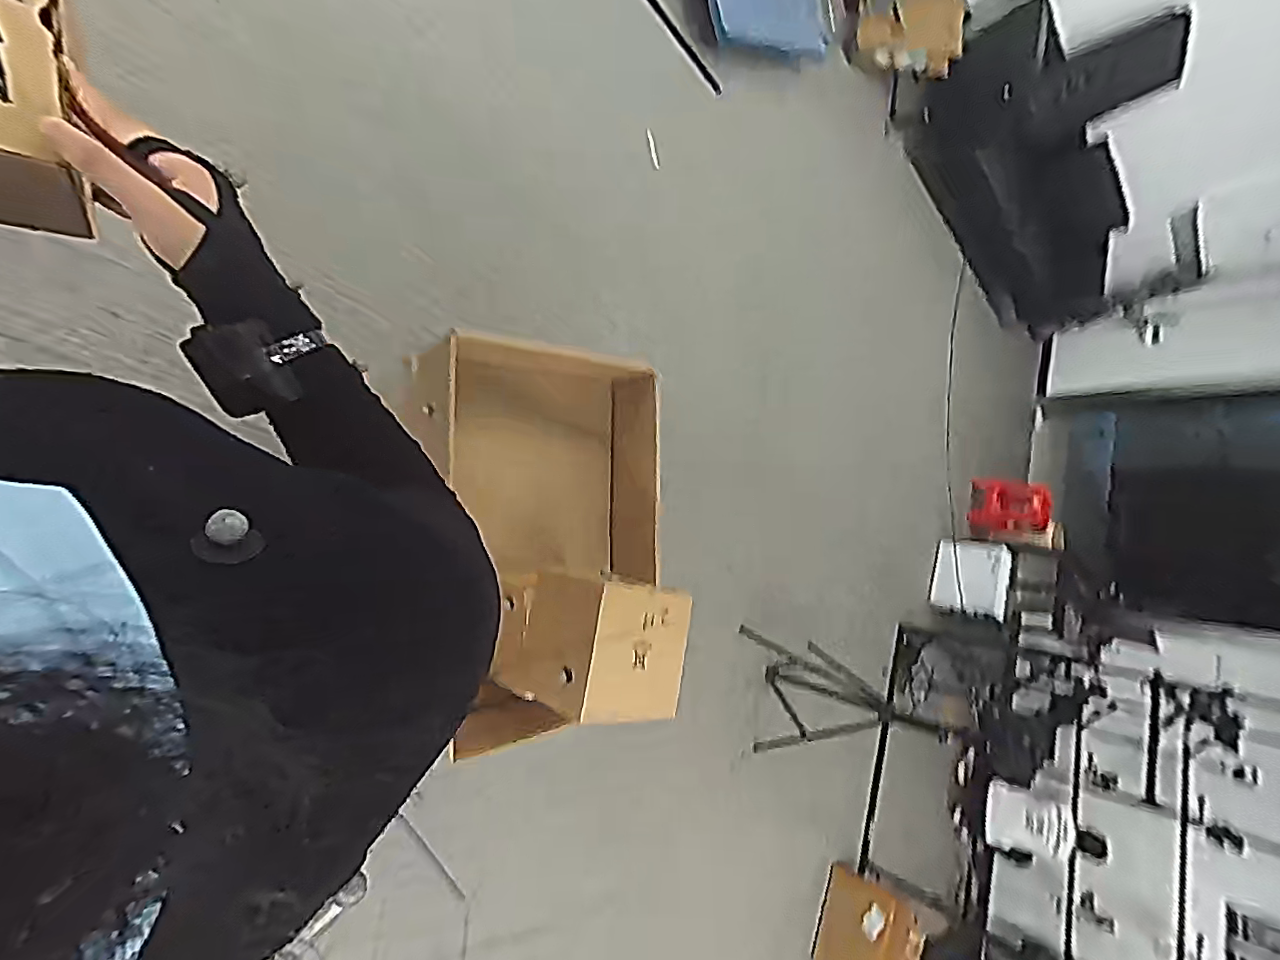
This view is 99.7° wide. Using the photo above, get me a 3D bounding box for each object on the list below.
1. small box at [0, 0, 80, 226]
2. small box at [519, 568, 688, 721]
[{"bbox_3d":[-0.466,-0.270,0.321,0.179,0.176,0.168,-5,97,-41],"label":"small box"},{"bbox_3d":[-0.057,0.233,0.786,0.168,0.176,0.179,18,77,-39],"label":"small box"}]
